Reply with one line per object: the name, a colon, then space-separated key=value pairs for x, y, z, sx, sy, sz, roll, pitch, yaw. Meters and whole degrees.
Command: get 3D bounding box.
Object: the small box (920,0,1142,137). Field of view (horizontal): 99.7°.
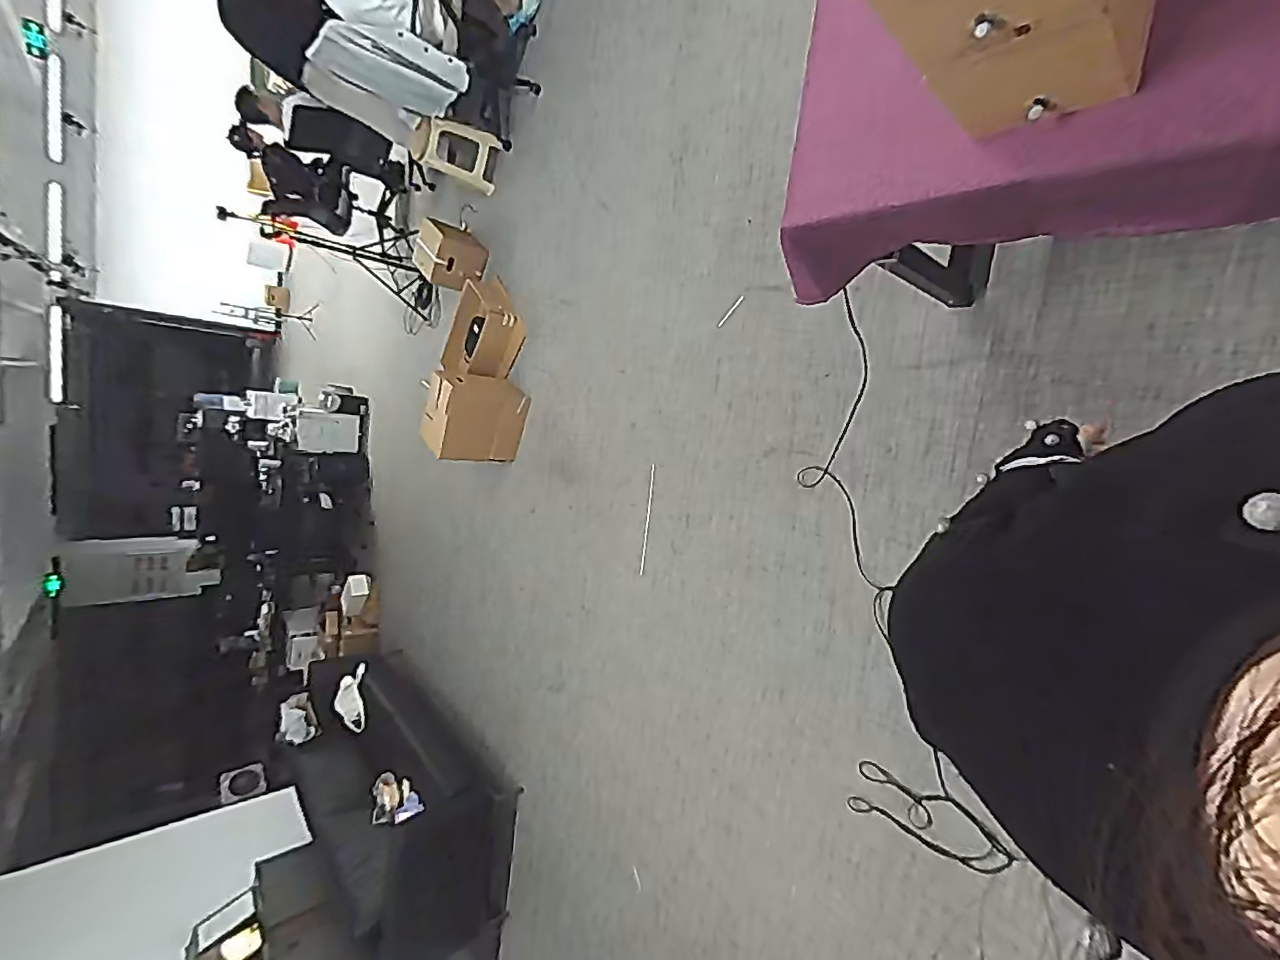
small box: x=0.460 y=-0.539 z=0.628 sx=0.179 sy=0.176 sz=0.168 roll=13 pitch=98 yaw=47
